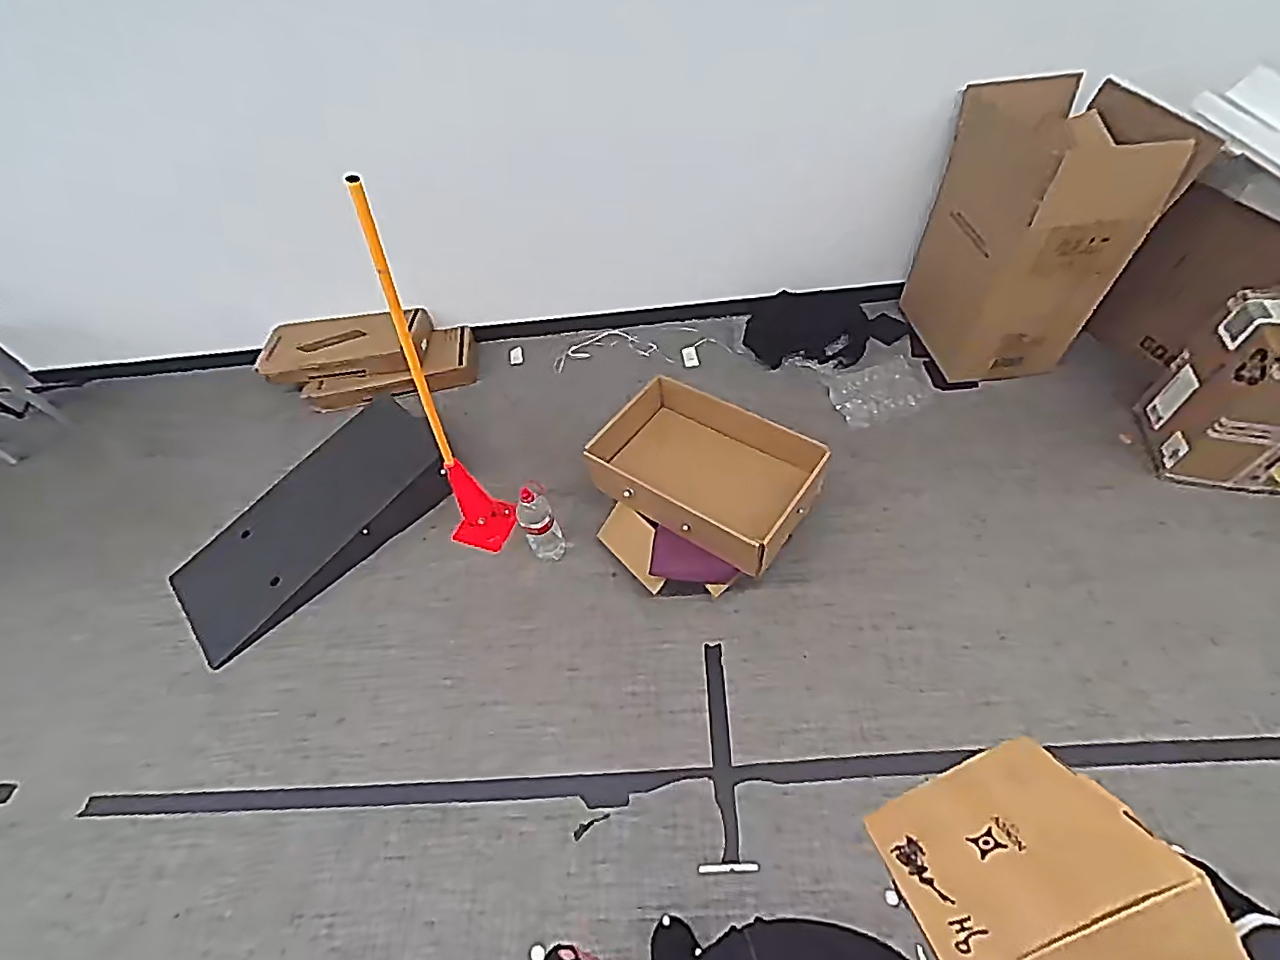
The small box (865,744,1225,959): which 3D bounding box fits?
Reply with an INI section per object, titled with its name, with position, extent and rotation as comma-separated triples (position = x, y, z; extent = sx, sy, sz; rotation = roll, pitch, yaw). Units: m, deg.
[small box]
position = 0.328, 0.367, 0.444
extent = 0.179, 0.168, 0.176
rotation = -28, 92, 3
